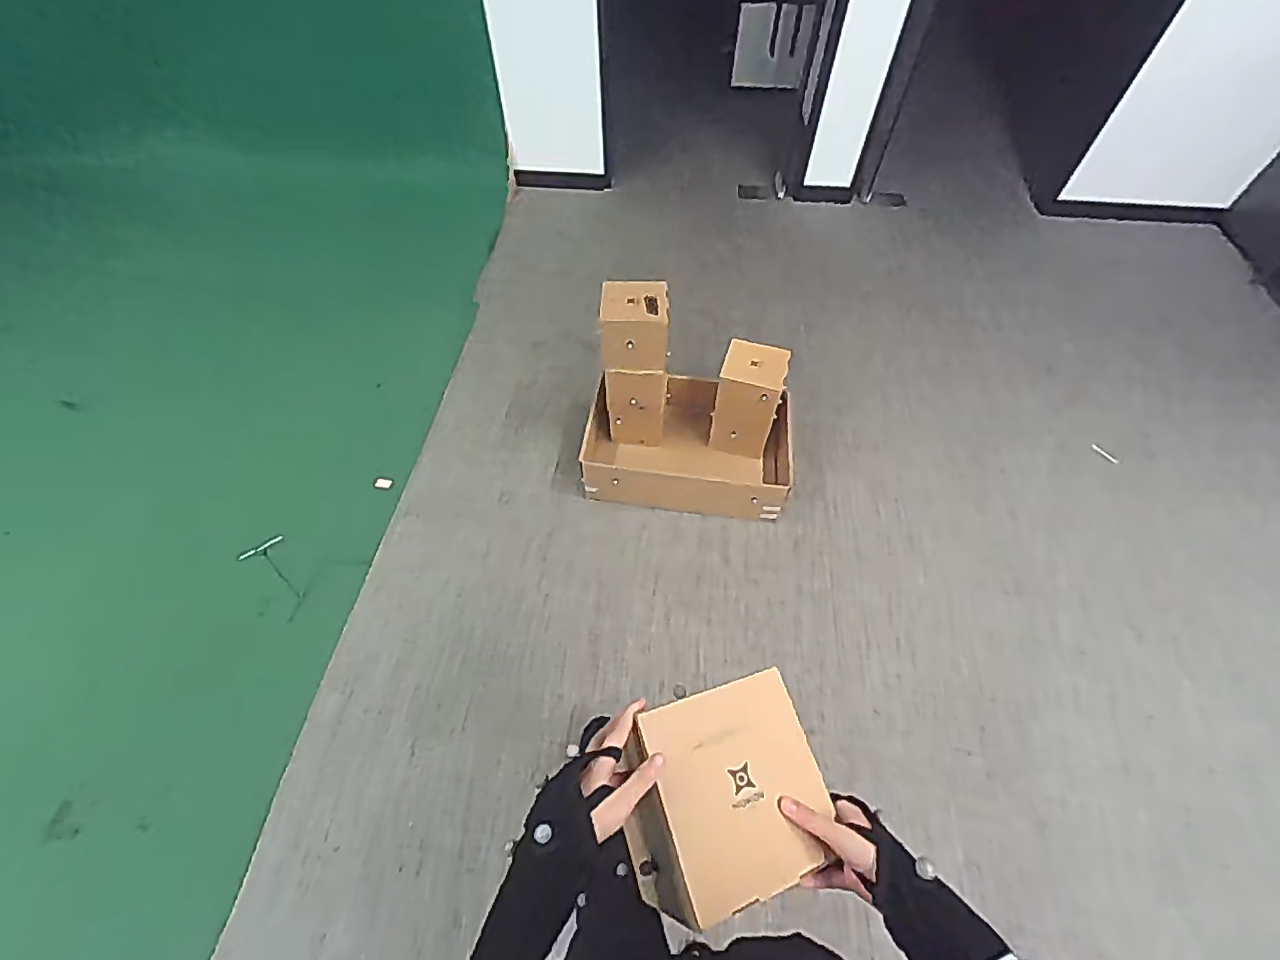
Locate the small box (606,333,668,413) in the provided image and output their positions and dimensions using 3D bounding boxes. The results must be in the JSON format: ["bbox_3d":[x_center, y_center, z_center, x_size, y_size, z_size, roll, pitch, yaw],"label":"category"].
[{"bbox_3d":[-0.006,-0.323,1.604,0.168,0.176,0.179,4,57,4],"label":"small box"}]

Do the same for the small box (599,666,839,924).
[{"bbox_3d":[0.067,0.317,0.574,0.168,0.176,0.179,-9,64,-22],"label":"small box"}]

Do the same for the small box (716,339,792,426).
[{"bbox_3d":[0.327,-0.279,1.578,0.179,0.176,0.168,16,59,10],"label":"small box"}]

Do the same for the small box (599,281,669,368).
[{"bbox_3d":[-0.013,-0.419,1.469,0.179,0.176,0.168,1,56,2],"label":"small box"}]
